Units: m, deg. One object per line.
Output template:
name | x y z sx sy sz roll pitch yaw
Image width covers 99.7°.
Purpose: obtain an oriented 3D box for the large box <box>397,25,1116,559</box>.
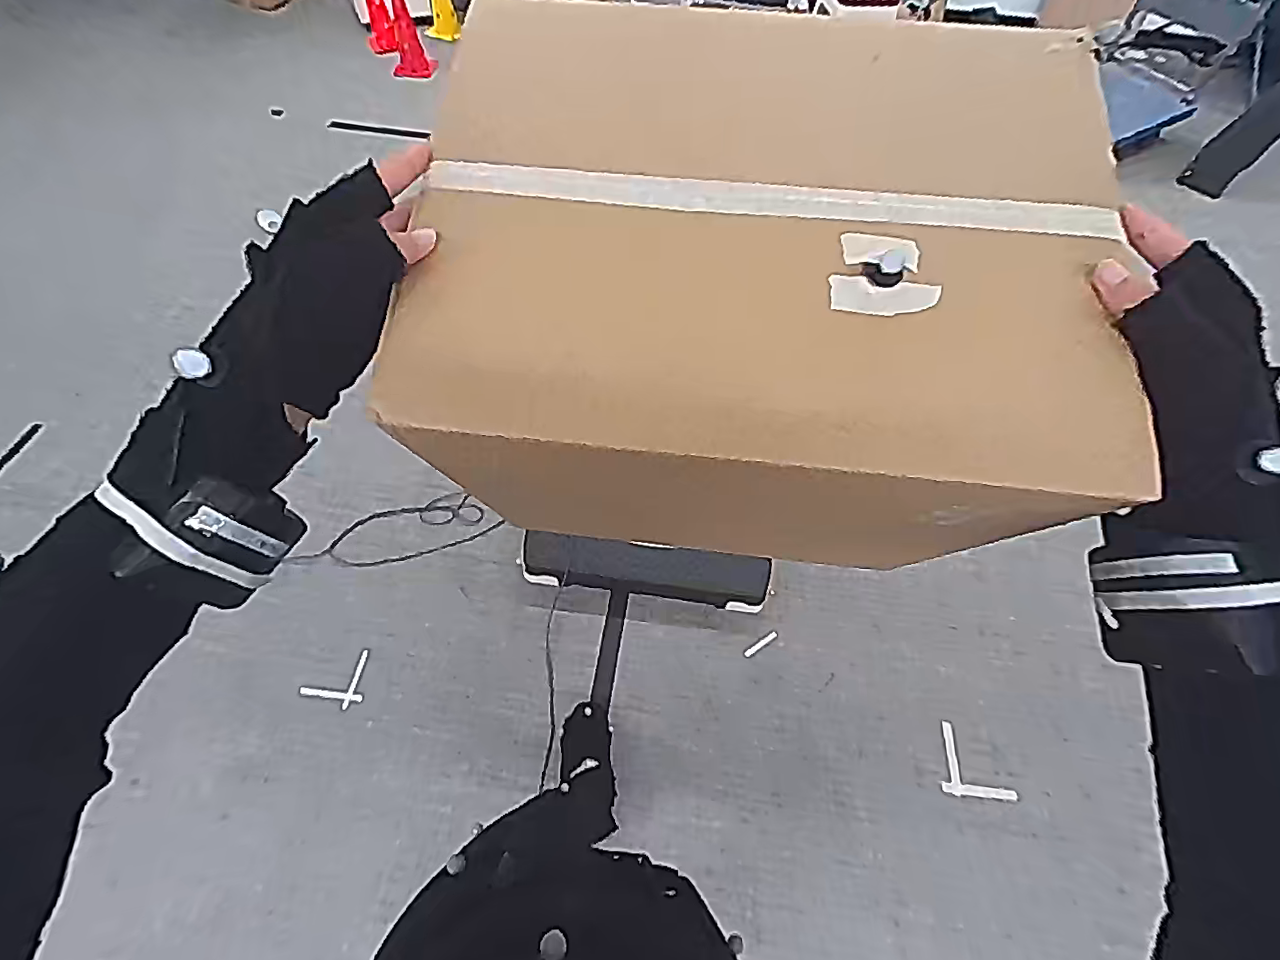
large box | 0.073 -0.119 0.478 0.408 0.320 0.320 6 75 2
